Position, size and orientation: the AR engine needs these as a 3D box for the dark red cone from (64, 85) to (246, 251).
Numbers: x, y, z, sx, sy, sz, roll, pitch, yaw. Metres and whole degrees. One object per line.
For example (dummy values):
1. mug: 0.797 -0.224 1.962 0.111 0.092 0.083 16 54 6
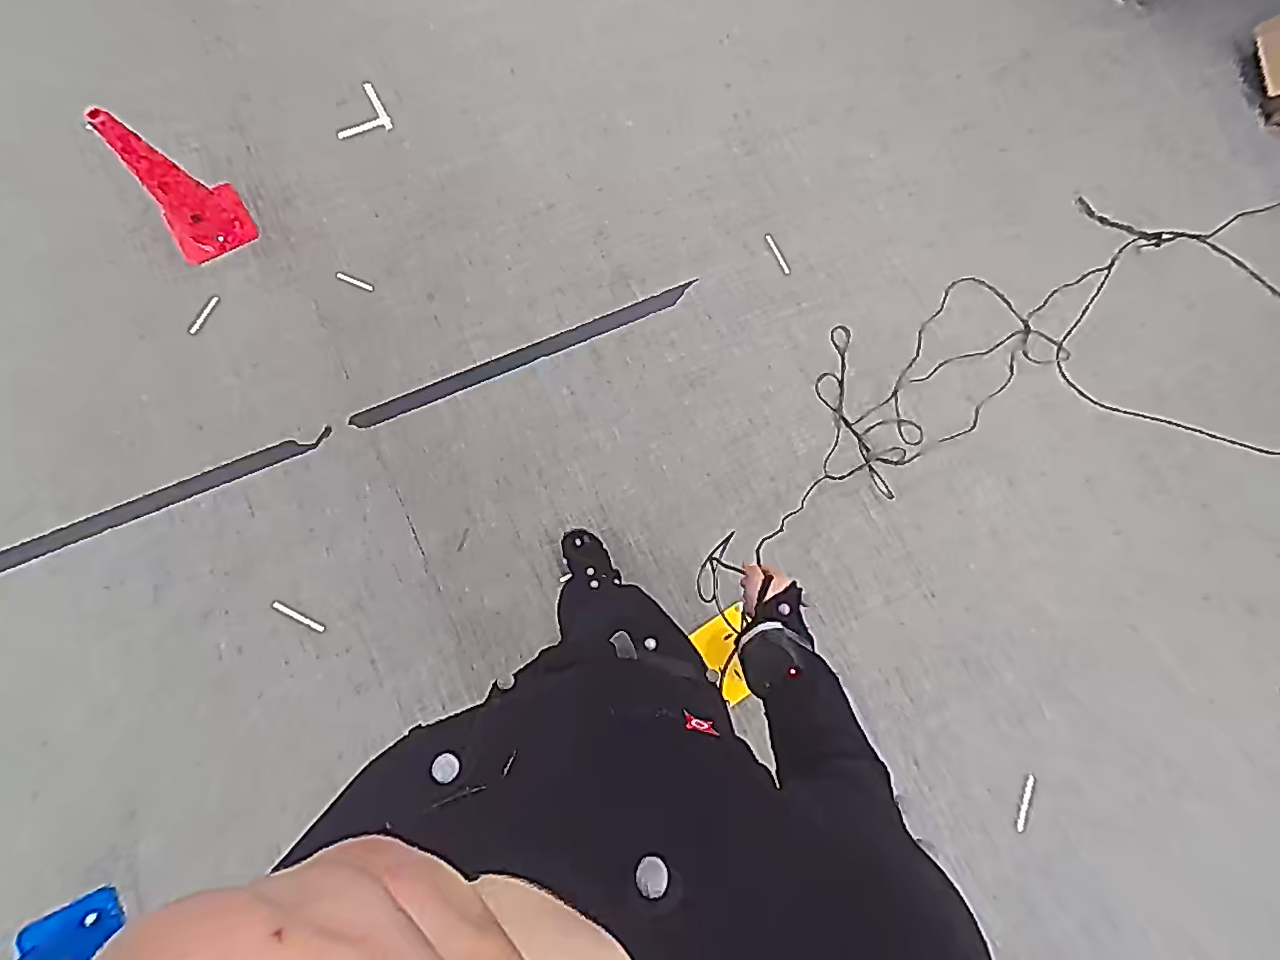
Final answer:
1. dark red cone: -1.171 -0.751 1.287 0.202 0.394 0.201 -32 84 -10

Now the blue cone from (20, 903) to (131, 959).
1. blue cone: -1.165 0.980 0.969 0.193 0.380 0.192 -24 82 -8
